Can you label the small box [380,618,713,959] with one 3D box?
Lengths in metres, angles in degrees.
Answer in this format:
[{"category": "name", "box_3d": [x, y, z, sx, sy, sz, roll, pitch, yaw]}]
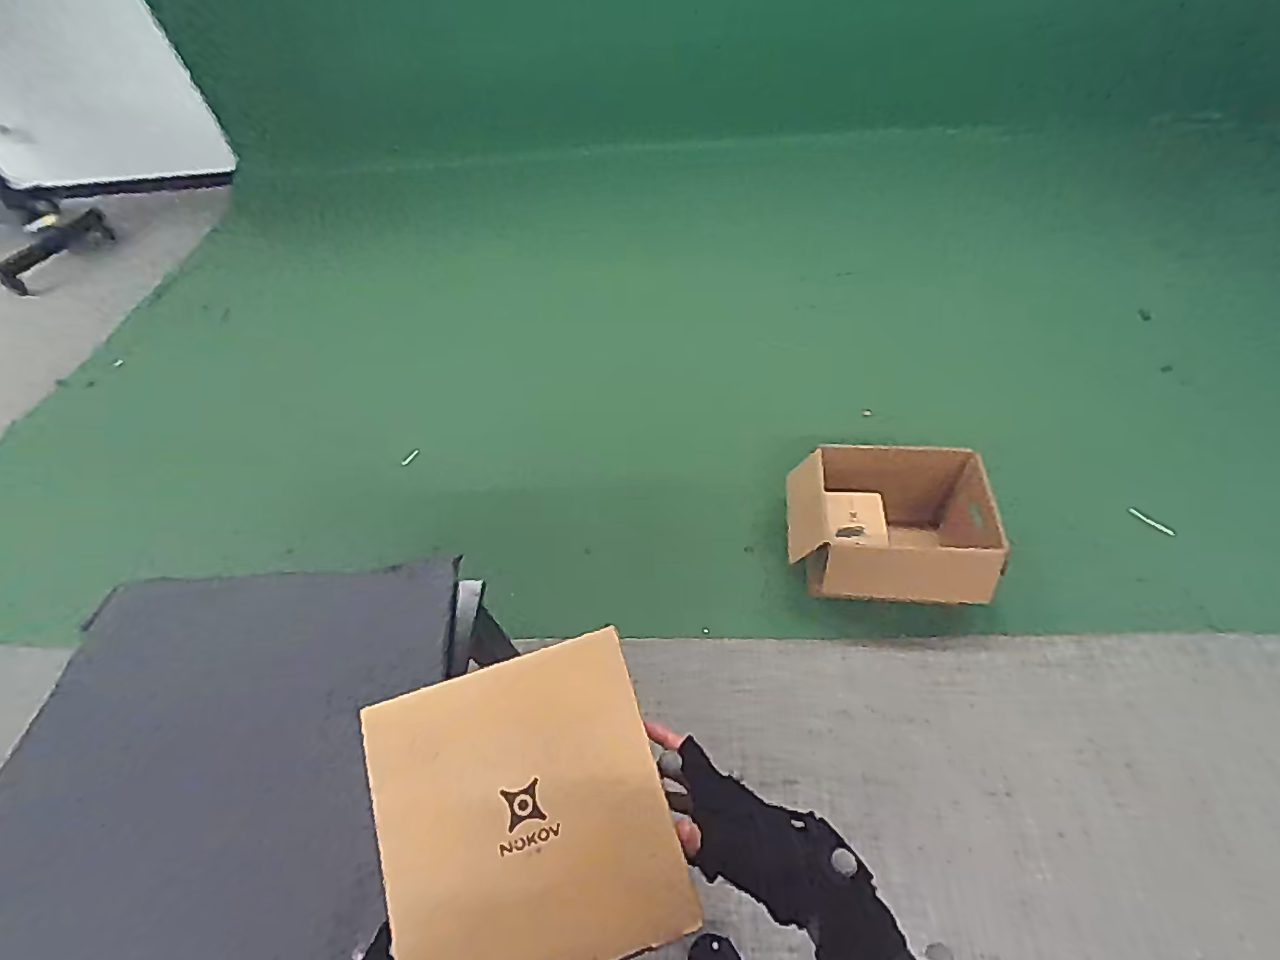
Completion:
[{"category": "small box", "box_3d": [-0.065, 0.216, 0.395, 0.168, 0.176, 0.179, -16, 73, -9]}]
